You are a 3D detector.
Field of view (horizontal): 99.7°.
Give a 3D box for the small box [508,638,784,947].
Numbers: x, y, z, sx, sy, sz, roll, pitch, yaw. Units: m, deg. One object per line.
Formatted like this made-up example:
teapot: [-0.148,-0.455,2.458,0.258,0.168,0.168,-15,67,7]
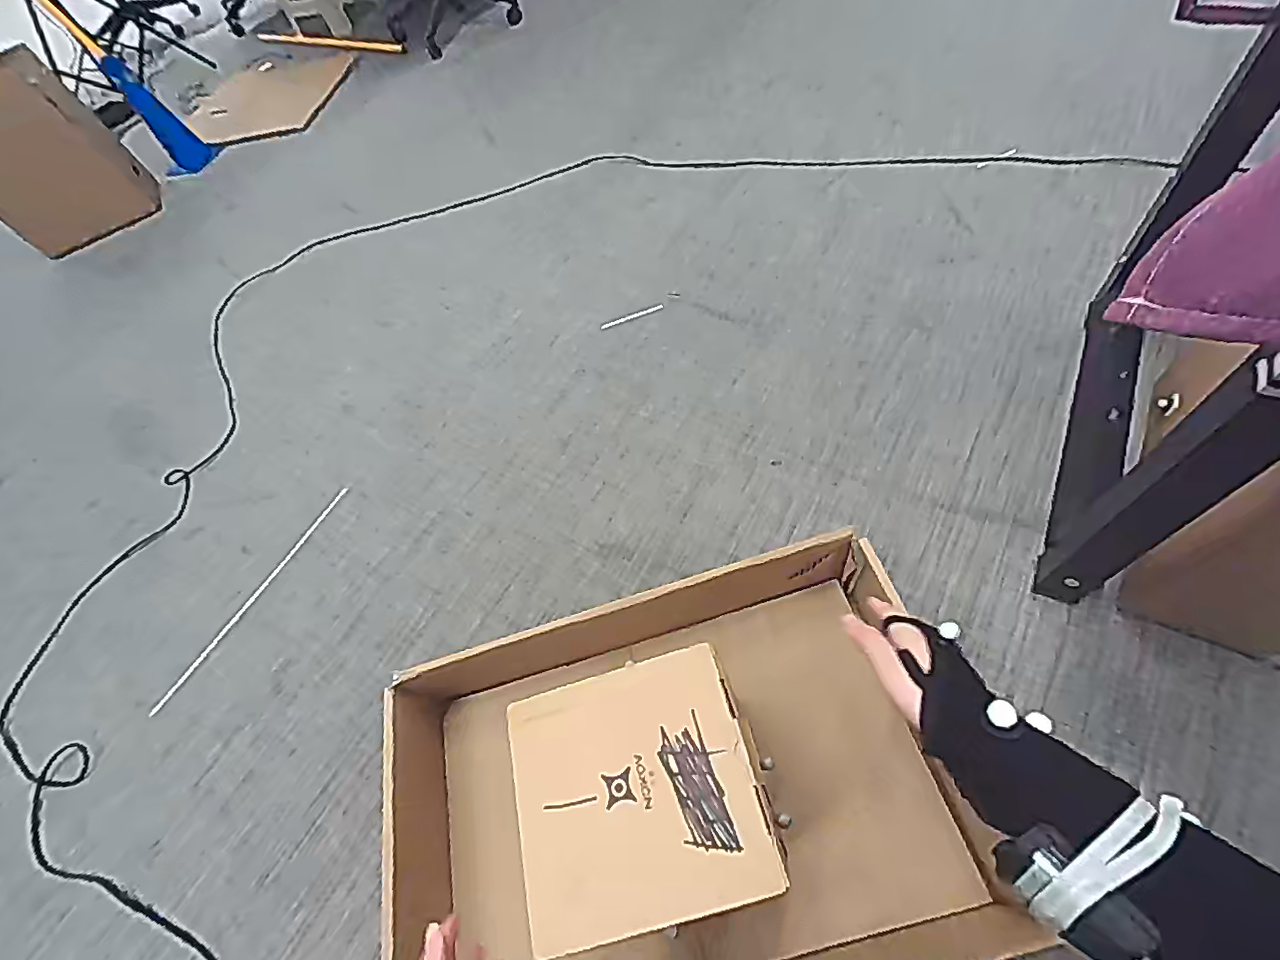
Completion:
small box: [0.010,0.253,0.461,0.179,0.176,0.168,-19,58,5]
